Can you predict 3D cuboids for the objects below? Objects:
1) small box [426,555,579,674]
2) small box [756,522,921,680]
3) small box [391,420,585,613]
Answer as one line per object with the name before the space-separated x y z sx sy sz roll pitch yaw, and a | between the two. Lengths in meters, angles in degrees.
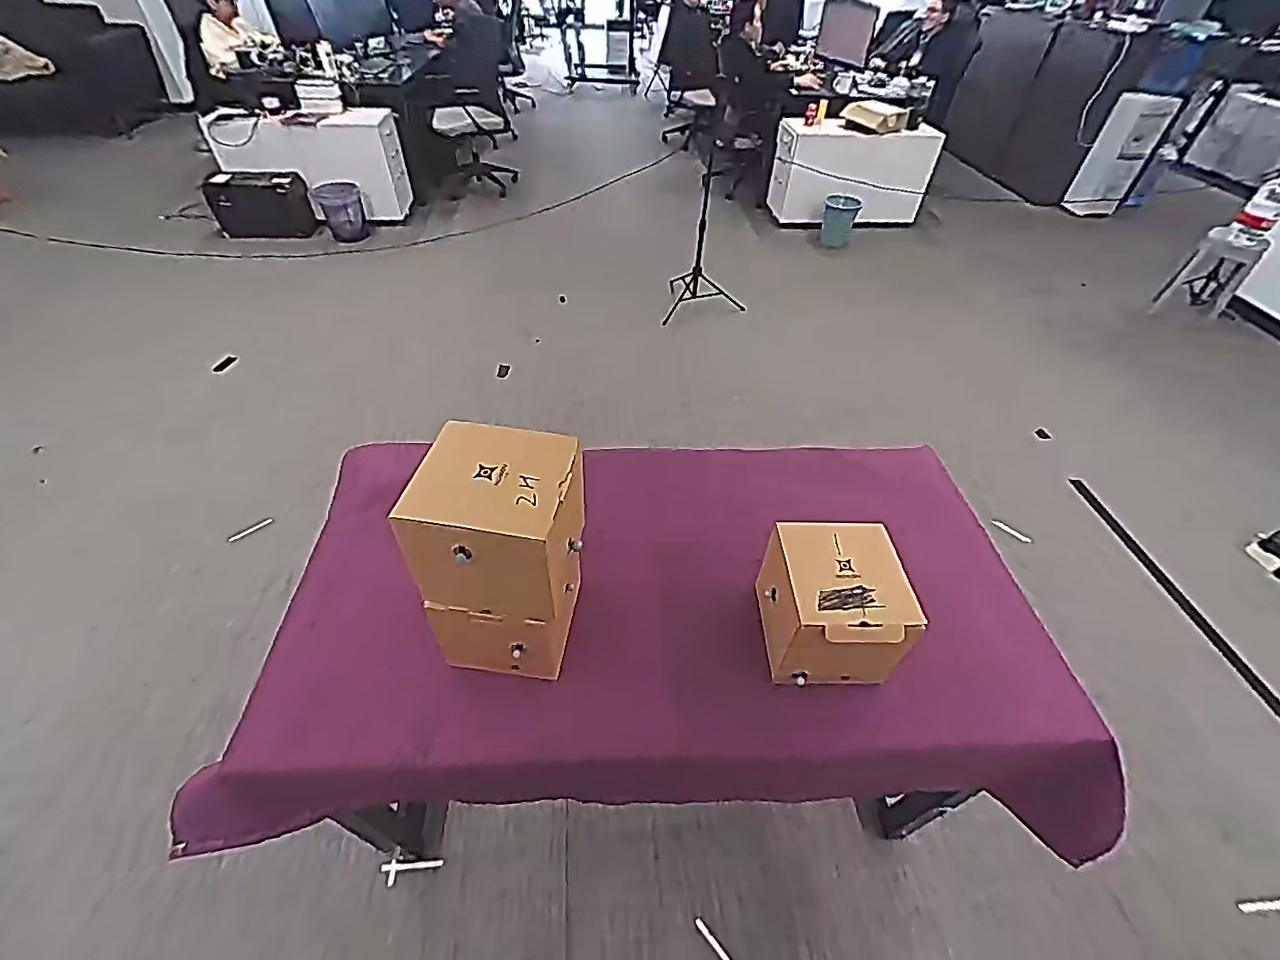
small box | -0.186 0.163 0.799 0.168 0.176 0.179 8 46 3
small box | 0.278 0.182 0.803 0.168 0.176 0.179 1 45 -2
small box | -0.173 0.048 0.682 0.179 0.176 0.168 9 47 4
